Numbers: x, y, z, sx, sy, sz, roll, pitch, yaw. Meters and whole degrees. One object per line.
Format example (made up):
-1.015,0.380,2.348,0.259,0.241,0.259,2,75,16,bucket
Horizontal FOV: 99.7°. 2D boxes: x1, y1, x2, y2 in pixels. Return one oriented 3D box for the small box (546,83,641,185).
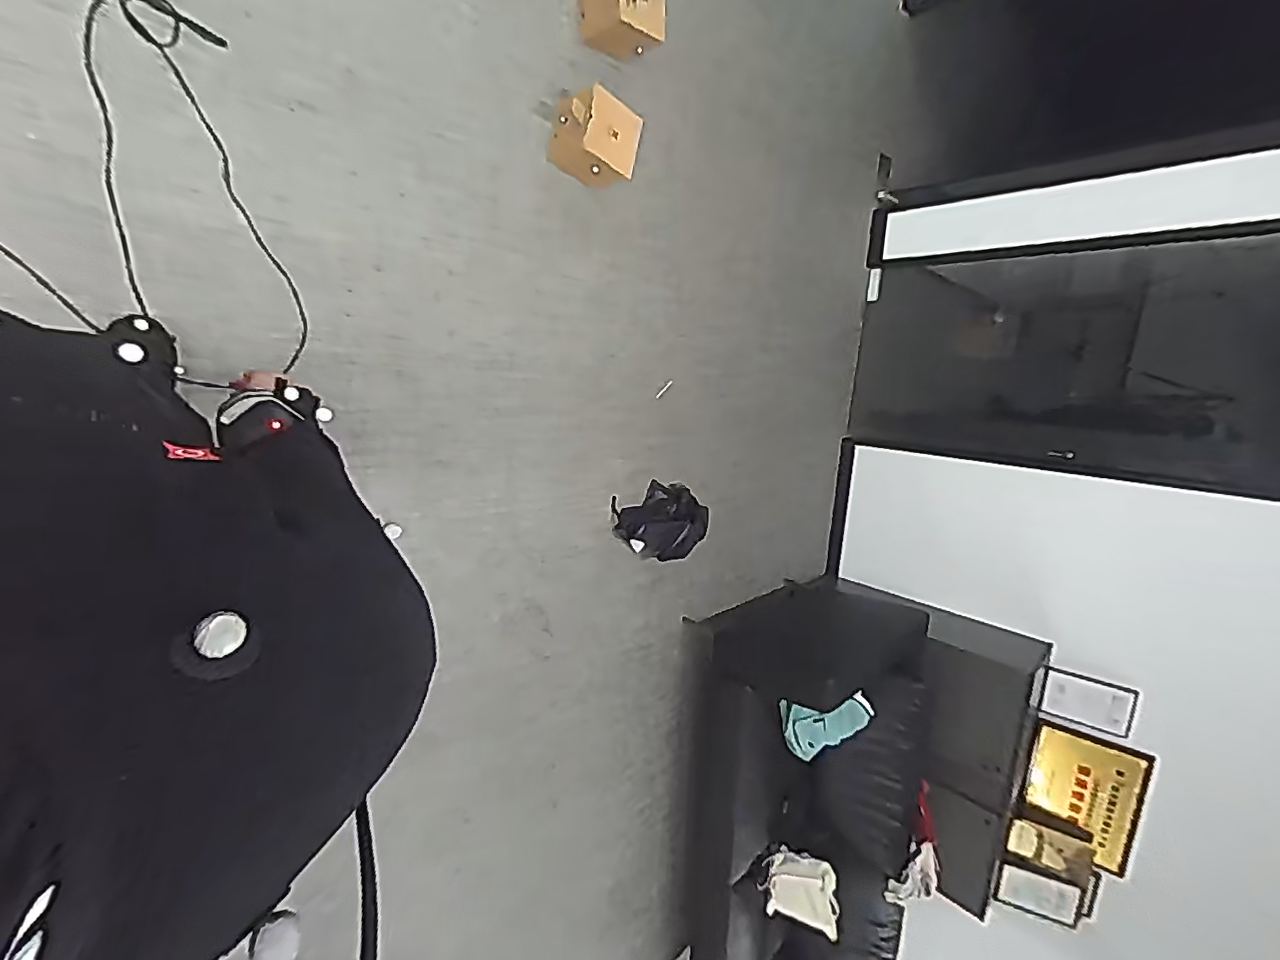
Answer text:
-0.130,-0.941,1.494,0.179,0.176,0.168,8,95,-46,small box
